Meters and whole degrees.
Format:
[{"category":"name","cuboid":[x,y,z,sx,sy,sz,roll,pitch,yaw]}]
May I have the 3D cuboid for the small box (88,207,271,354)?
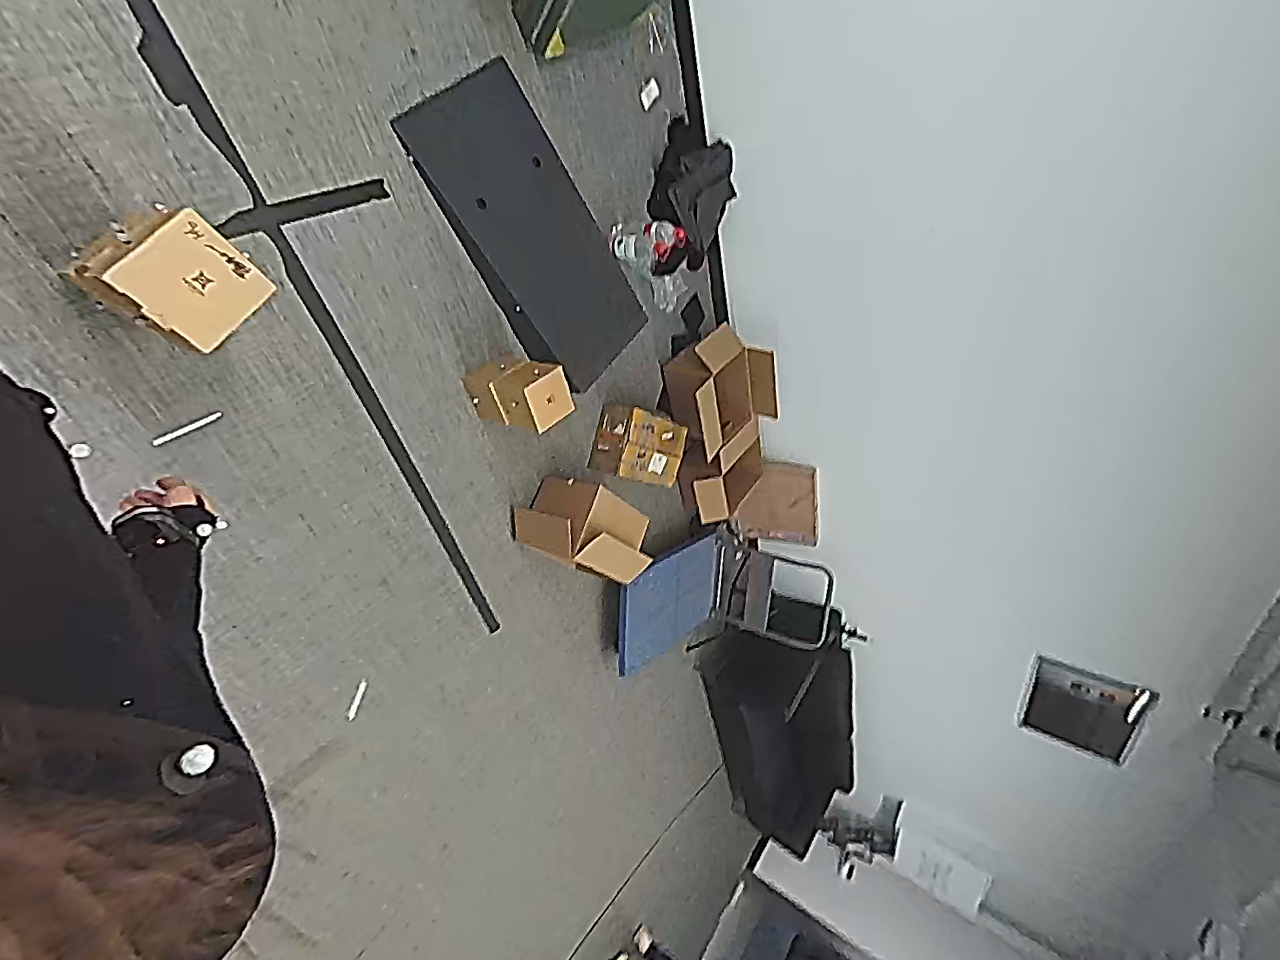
[{"category":"small box","cuboid":[-0.806,-0.345,0.947,0.179,0.176,0.168,-58,141,-20]}]
